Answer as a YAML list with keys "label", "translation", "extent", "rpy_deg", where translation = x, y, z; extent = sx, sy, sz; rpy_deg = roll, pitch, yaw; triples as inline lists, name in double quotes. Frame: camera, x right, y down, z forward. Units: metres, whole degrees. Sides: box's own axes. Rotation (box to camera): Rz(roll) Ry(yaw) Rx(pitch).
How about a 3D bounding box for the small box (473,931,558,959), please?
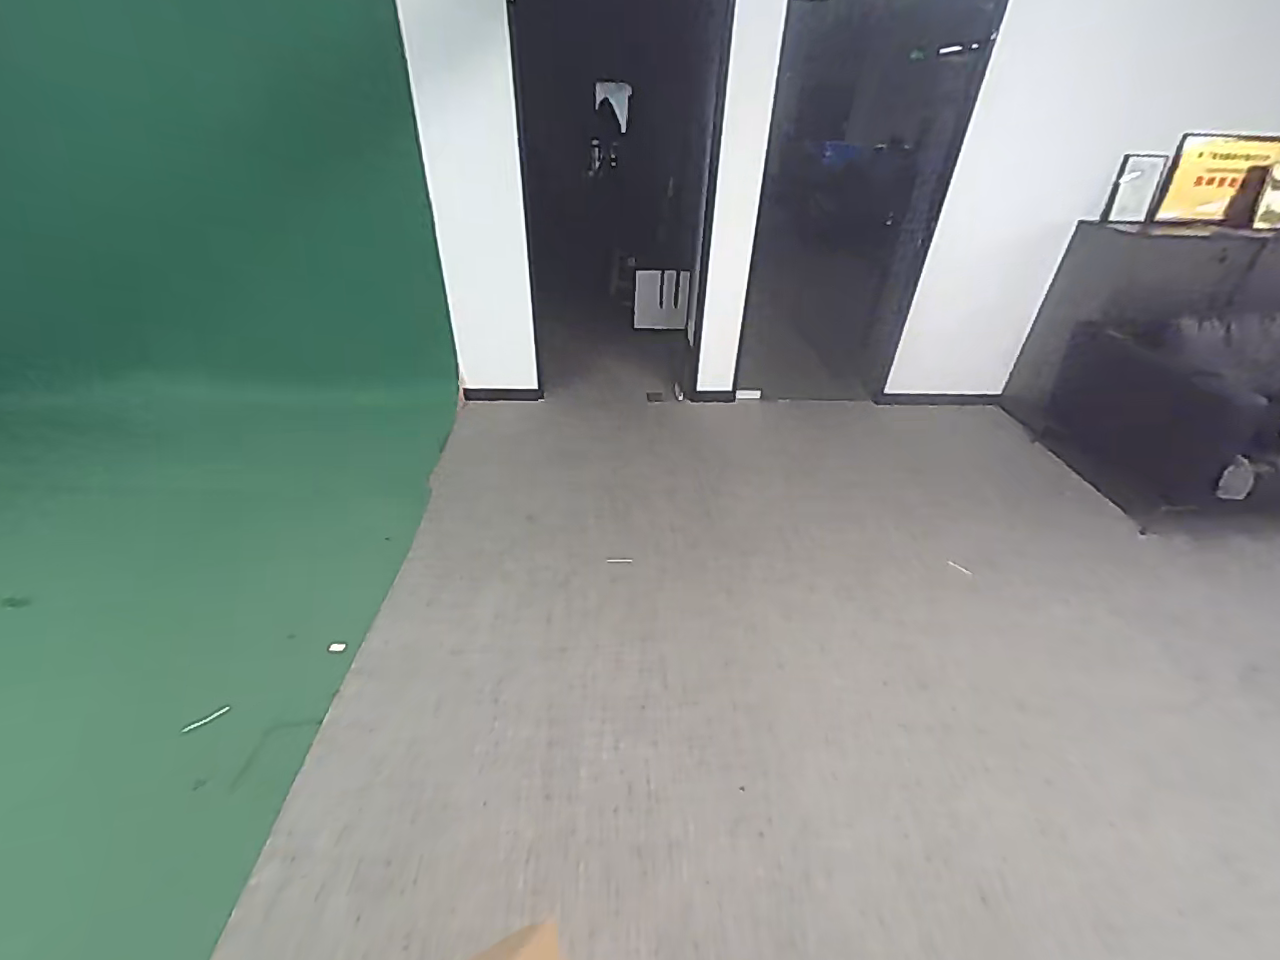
- label: "small box"
  translation: [-0.119, 0.411, 0.318]
  extent: [0.179, 0.176, 0.168]
  rpy_deg: [-20, 61, -13]
